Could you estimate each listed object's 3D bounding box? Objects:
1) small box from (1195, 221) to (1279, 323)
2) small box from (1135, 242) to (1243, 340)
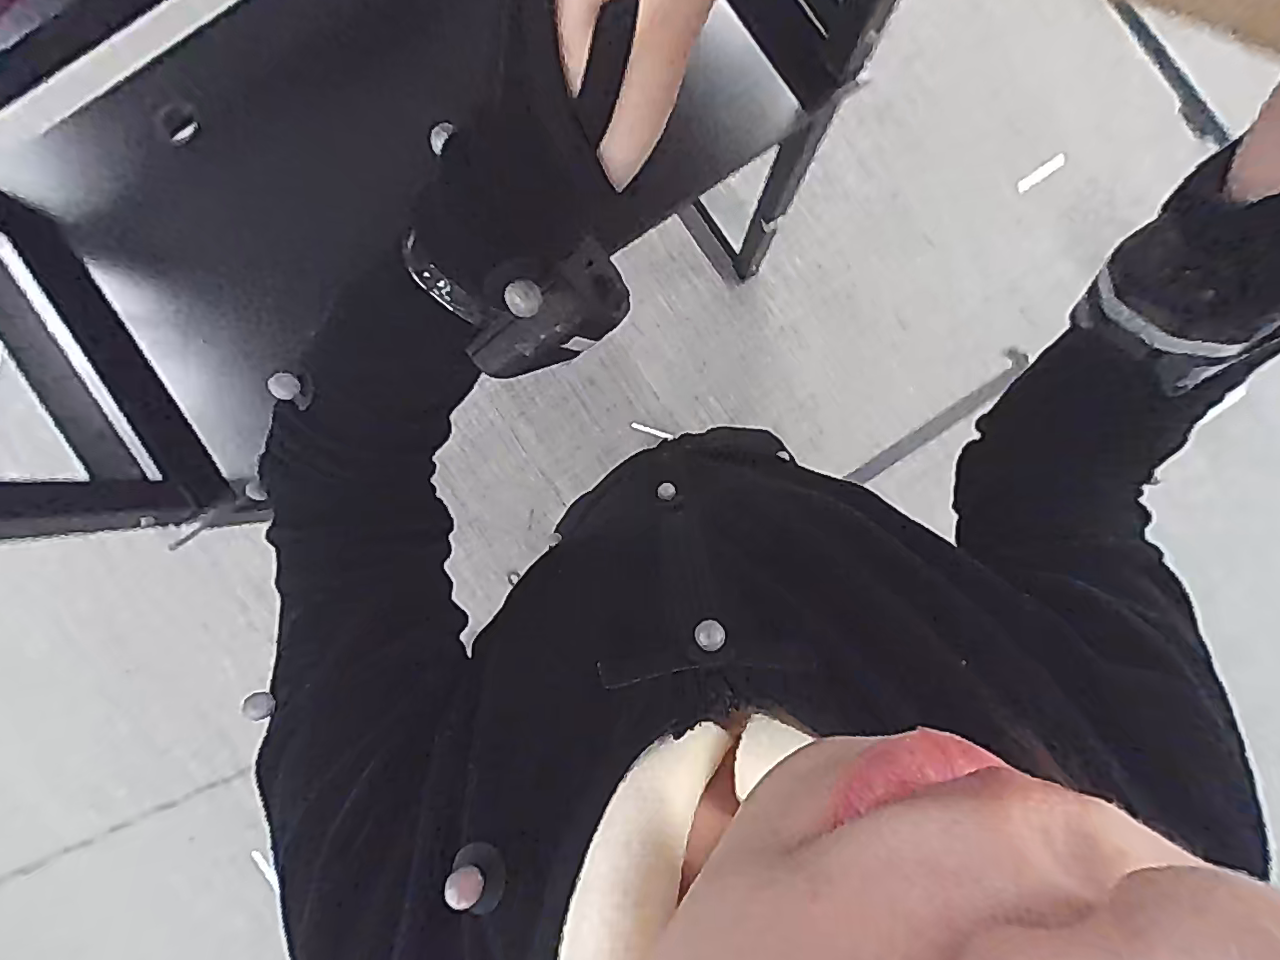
[{"bbox_3d":[1.438,-0.475,1.214,0.168,0.176,0.179,-37,89,1],"label":"small box"},{"bbox_3d":[1.443,-0.477,1.378,0.168,0.176,0.179,-35,91,1],"label":"small box"}]
